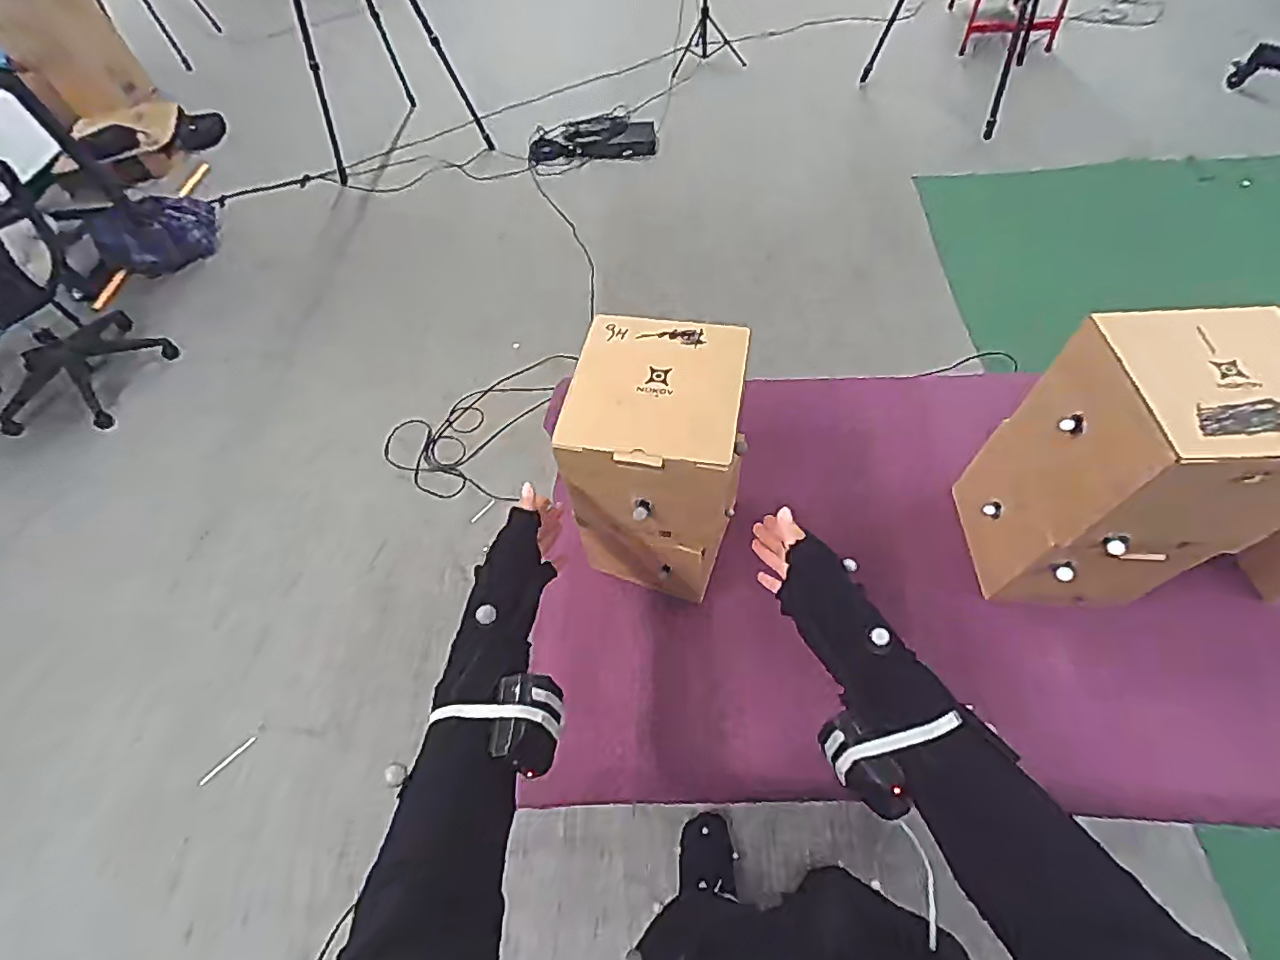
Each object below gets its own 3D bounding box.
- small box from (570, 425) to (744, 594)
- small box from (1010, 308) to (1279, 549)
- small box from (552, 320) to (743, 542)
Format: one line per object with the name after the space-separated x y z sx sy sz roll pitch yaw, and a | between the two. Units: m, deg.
0.030 0.027 0.709 0.168 0.176 0.179 16 60 15 | small box
0.511 -0.042 0.530 0.168 0.176 0.179 -1 56 5 | small box
0.020 -0.048 0.586 0.168 0.176 0.179 5 59 9 | small box
